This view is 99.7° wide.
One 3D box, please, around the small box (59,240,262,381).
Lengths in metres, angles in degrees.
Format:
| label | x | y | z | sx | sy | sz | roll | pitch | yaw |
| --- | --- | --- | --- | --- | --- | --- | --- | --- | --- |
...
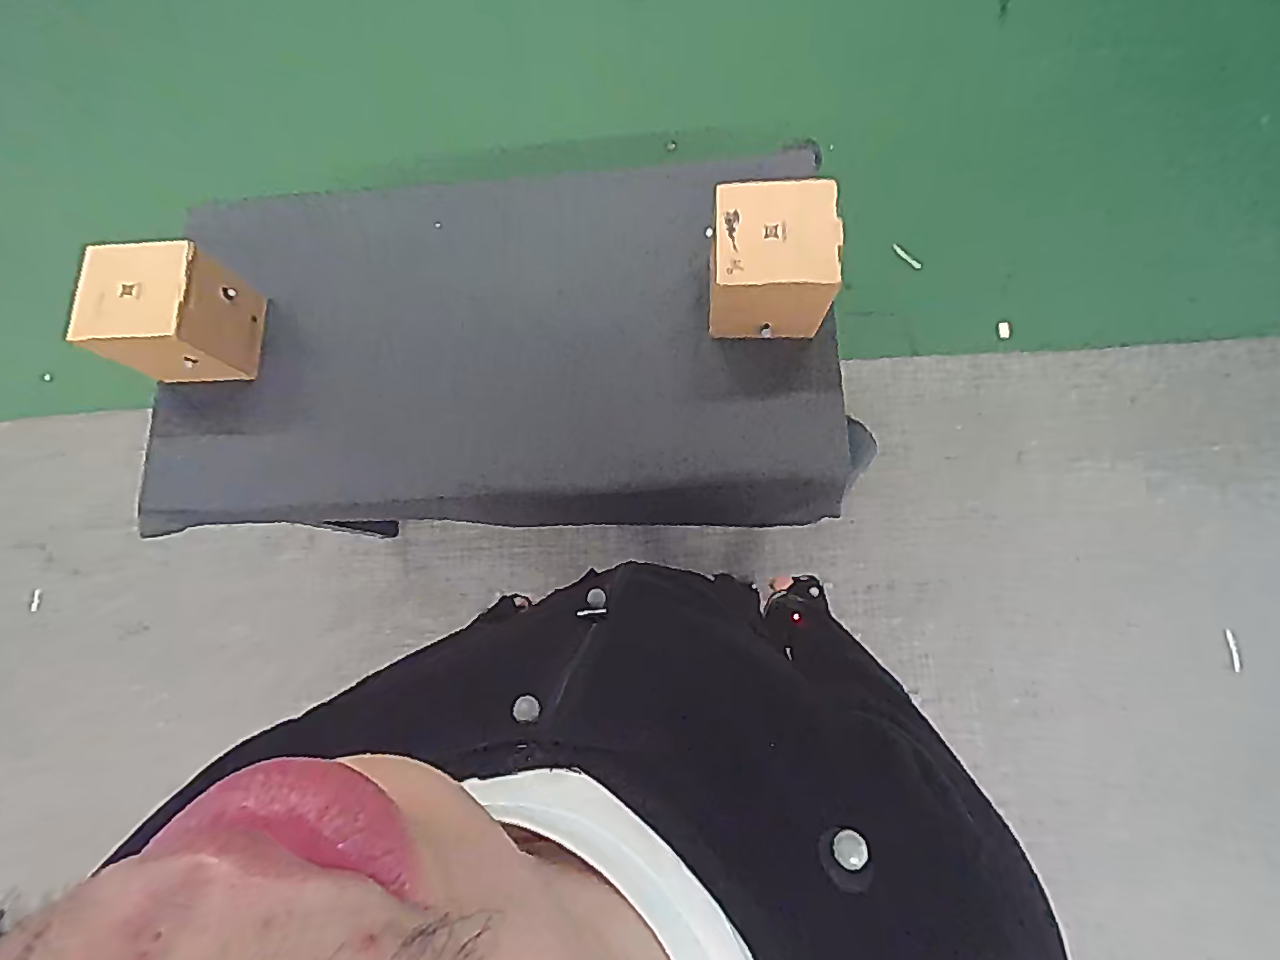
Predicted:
| label | x | y | z | sx | sy | sz | roll | pitch | yaw |
| --- | --- | --- | --- | --- | --- | --- | --- | --- | --- |
| small box | -0.776 | -0.273 | 0.897 | 0.179 | 0.176 | 0.168 | 0 | 76 | 4 |

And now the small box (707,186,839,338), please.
| label | x | y | z | sx | sy | sz | roll | pitch | yaw |
| --- | --- | --- | --- | --- | --- | --- | --- | --- | --- |
| small box | 0.201 | -0.337 | 0.860 | 0.179 | 0.176 | 0.168 | 1 | 79 | 4 |
